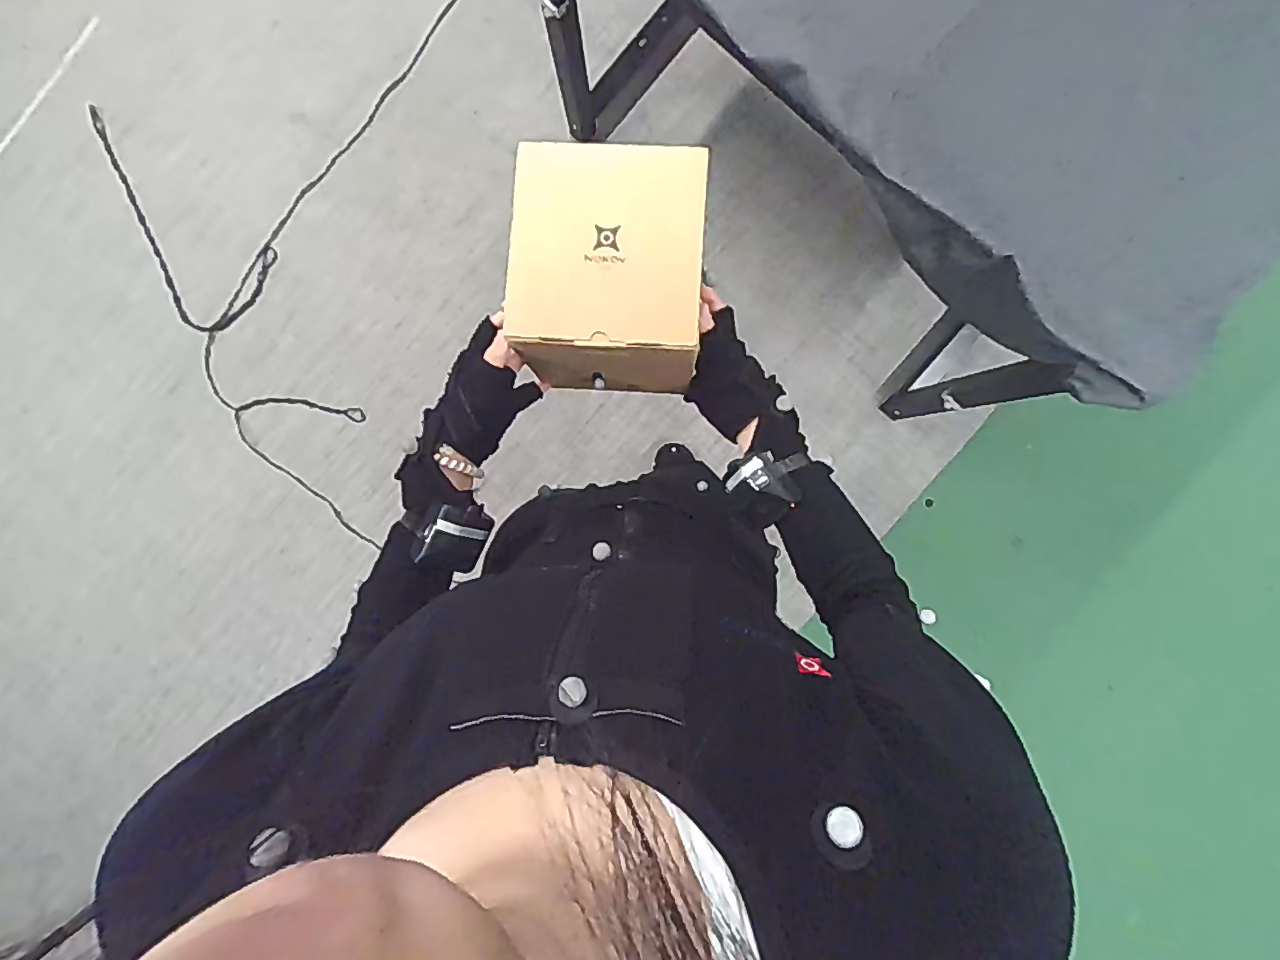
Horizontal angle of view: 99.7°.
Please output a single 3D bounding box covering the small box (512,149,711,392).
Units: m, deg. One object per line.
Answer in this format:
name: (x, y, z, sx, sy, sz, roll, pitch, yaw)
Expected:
small box: (-0.023, -0.198, 0.552, 0.168, 0.176, 0.179, 3, 88, 2)
